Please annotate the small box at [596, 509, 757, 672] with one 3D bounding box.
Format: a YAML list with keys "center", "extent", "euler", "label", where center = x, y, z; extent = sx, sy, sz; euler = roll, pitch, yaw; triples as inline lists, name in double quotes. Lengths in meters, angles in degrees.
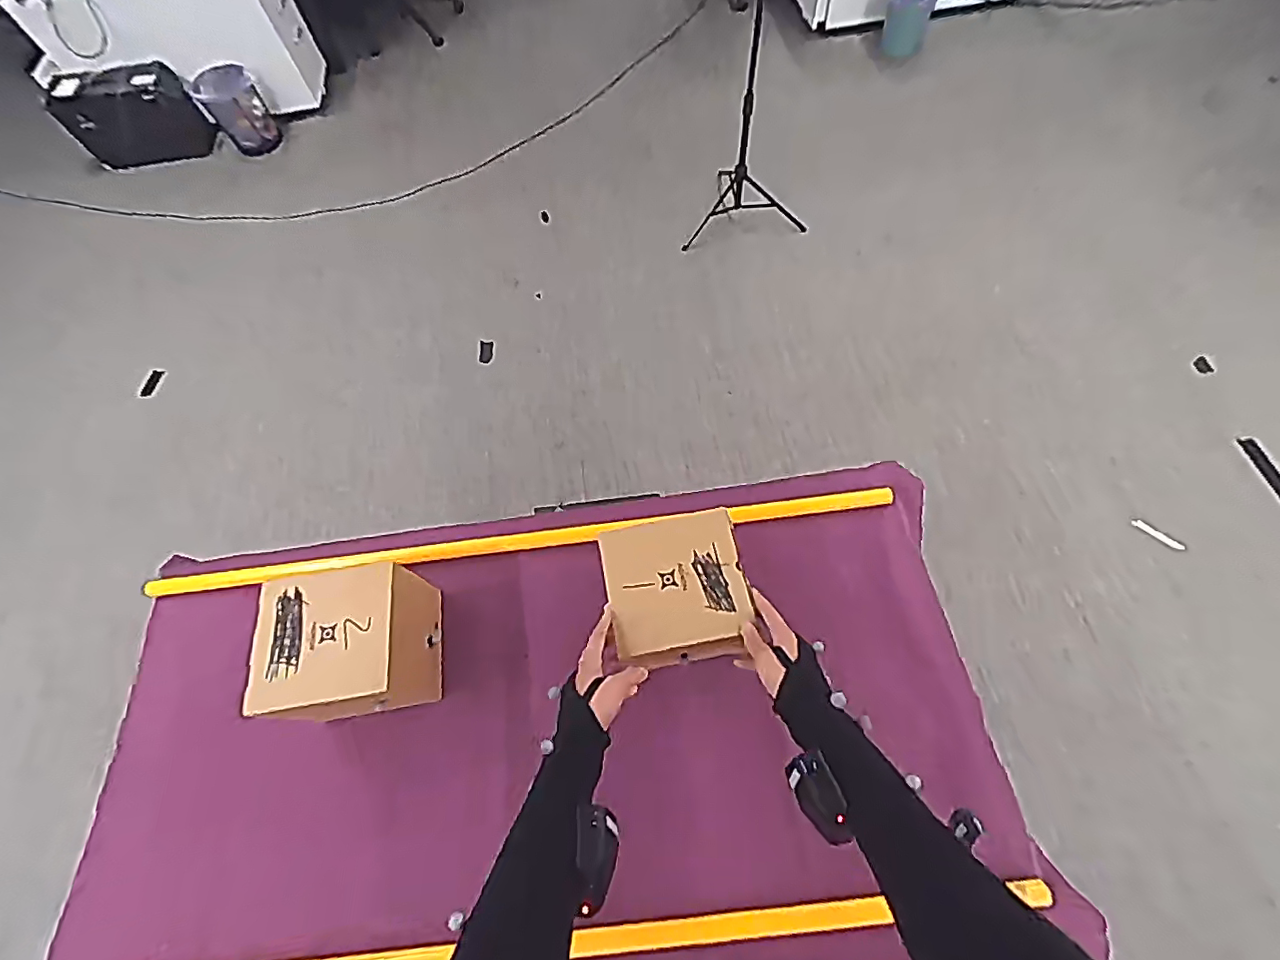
- center: [0.046, 0.158, 0.741]
  extent: [0.179, 0.176, 0.168]
  euler: [-12, 64, 0]
  label: "small box"
